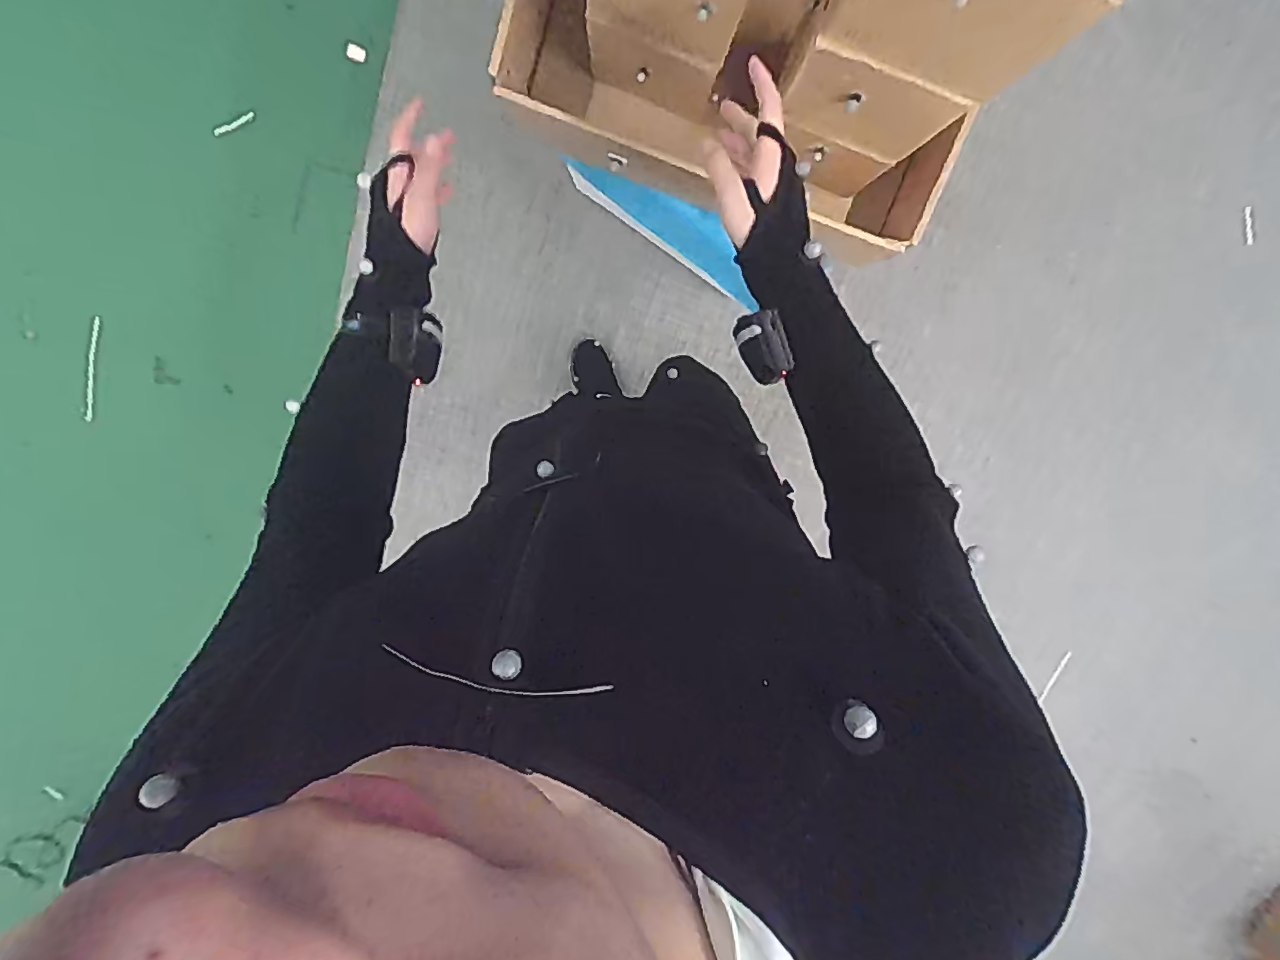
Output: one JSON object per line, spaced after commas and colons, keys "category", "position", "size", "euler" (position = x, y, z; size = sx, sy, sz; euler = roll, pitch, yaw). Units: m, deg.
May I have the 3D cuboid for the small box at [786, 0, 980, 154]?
{"category": "small box", "position": [0.278, -0.489, 0.590], "size": [0.179, 0.176, 0.168], "euler": [18, 104, -1]}

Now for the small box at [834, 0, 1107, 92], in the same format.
{"category": "small box", "position": [0.283, -0.453, 0.427], "size": [0.179, 0.176, 0.168], "euler": [20, 104, -4]}
